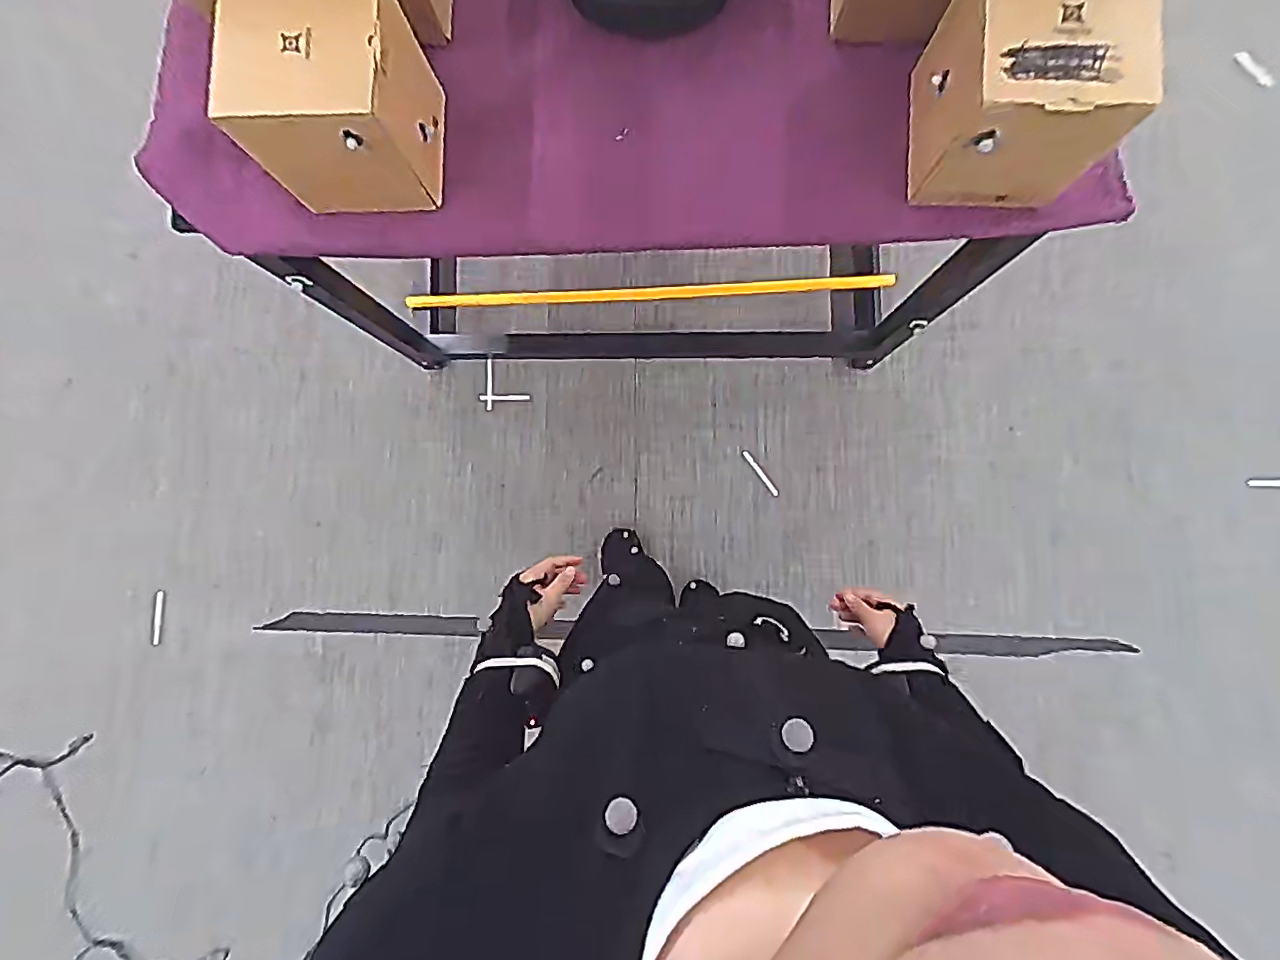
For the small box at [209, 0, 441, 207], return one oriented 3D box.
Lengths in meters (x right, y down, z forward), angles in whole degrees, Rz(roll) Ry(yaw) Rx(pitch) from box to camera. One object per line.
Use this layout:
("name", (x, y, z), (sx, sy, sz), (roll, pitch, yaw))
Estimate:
("small box", (-0.358, -0.449, 0.645), (0.179, 0.176, 0.168), (-1, 85, 2))
